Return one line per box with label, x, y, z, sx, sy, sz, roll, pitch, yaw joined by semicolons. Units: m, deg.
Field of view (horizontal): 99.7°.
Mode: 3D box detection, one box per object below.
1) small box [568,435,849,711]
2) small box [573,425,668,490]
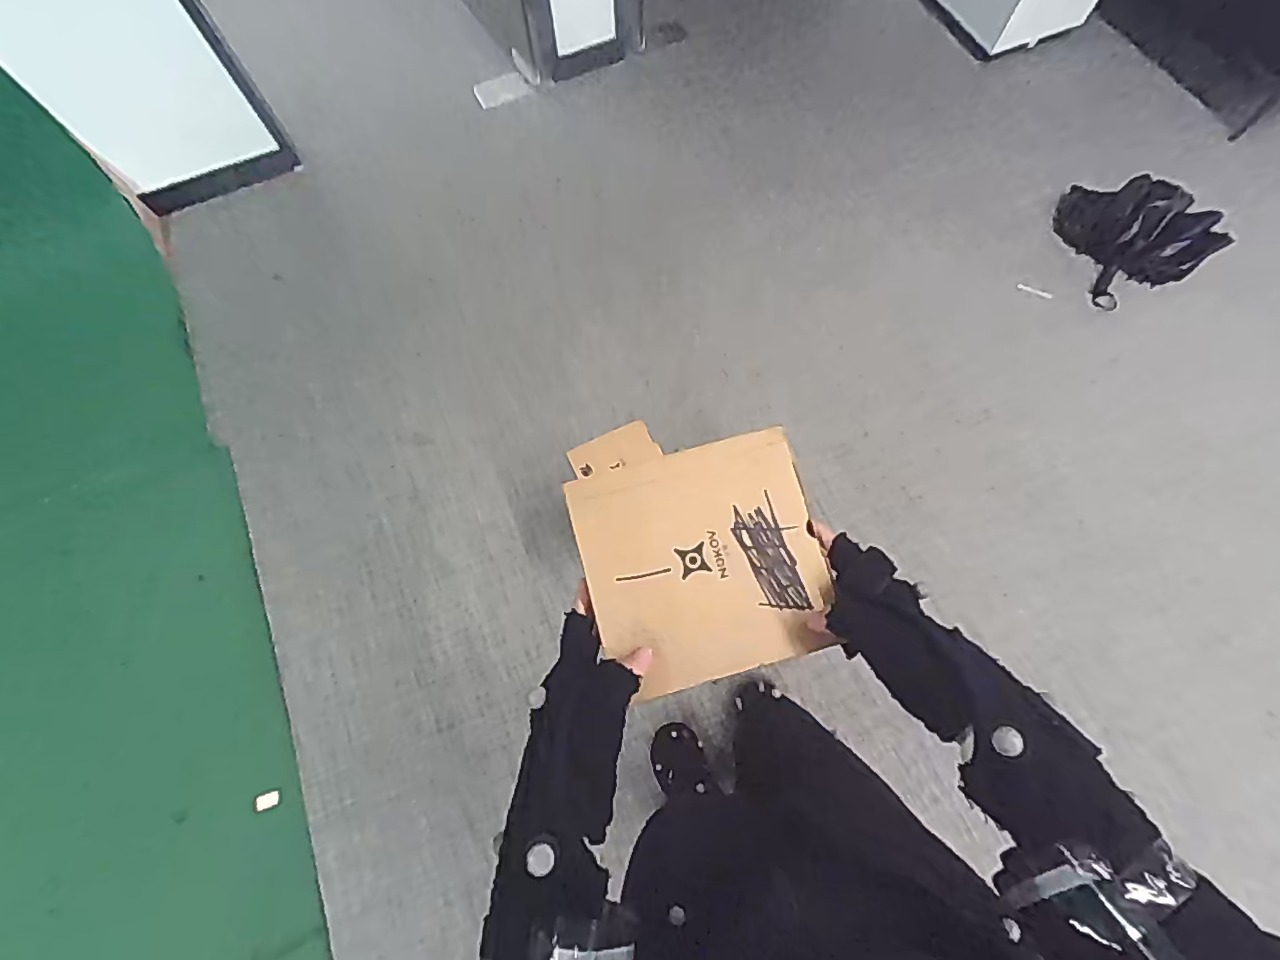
small box;0.047;0.078;0.481;0.179;0.176;0.168;-18;80;-5
small box;-0.029;0.013;1.168;0.179;0.176;0.168;-24;70;-8
